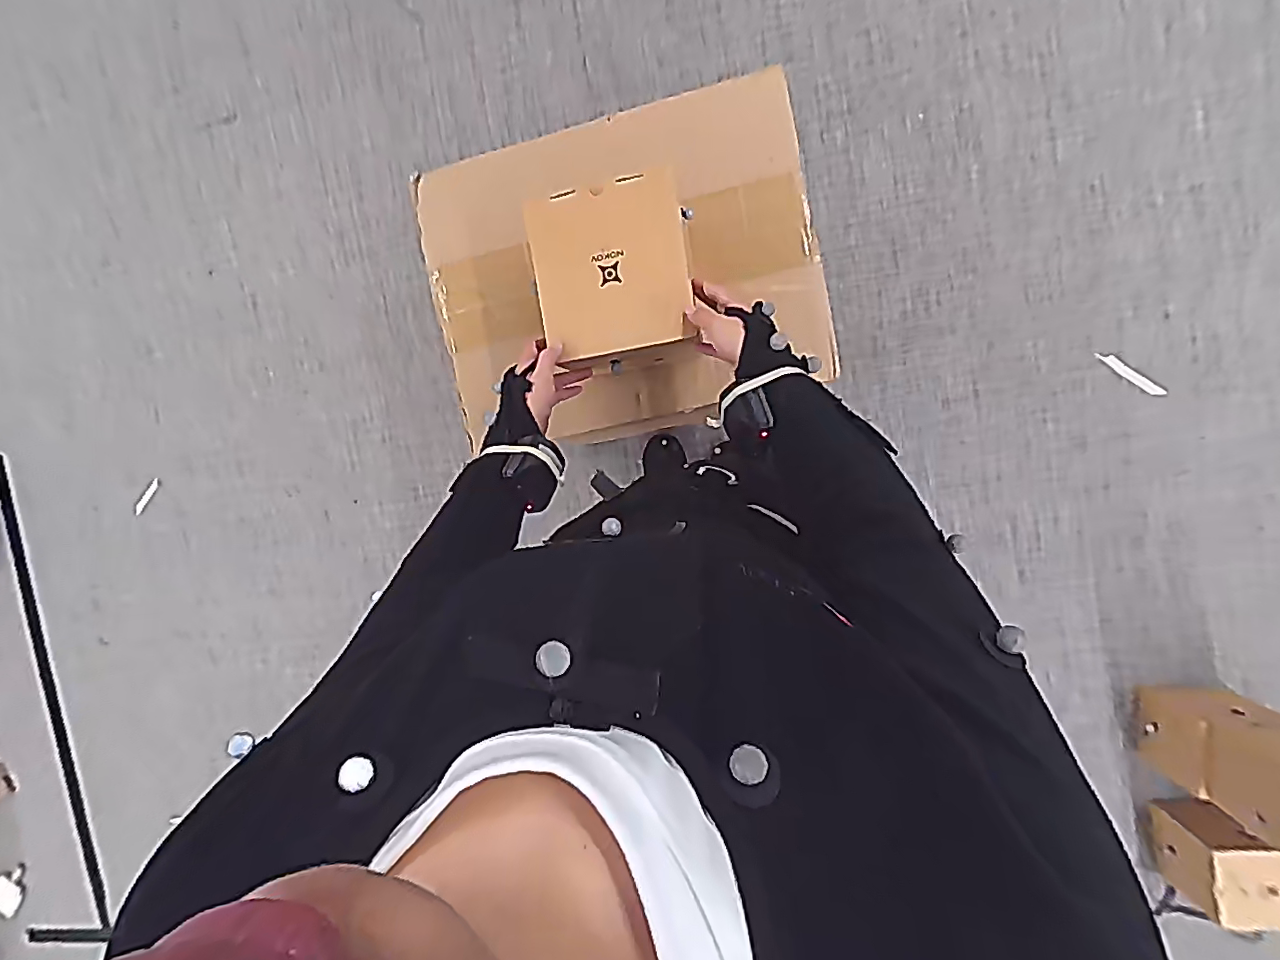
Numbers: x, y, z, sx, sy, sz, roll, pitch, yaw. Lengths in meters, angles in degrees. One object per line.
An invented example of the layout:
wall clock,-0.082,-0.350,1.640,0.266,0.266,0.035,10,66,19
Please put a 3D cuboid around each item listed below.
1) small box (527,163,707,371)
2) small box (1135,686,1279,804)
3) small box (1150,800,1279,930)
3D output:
small box,-0.015,-0.230,0.640,0.168,0.176,0.179,-9,93,10
small box,1.213,0.553,1.148,0.179,0.176,0.168,-2,93,10
small box,1.259,0.814,1.158,0.179,0.176,0.168,-7,91,9
